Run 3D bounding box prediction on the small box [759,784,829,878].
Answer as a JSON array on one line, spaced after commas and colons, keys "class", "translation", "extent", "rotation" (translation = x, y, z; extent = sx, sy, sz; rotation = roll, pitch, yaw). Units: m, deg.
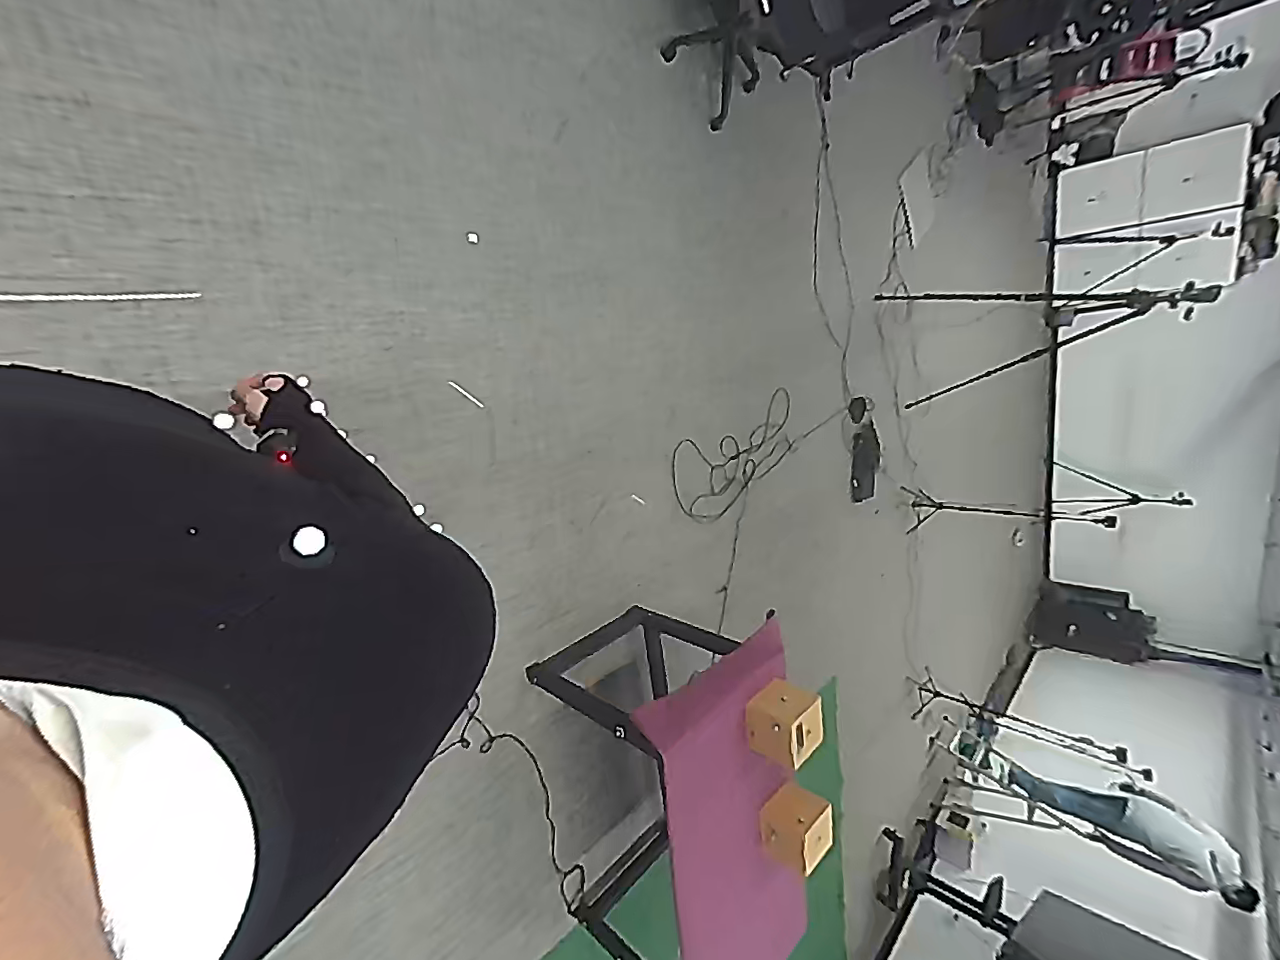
[{"class": "small box", "translation": [0.520, 1.174, 1.827], "extent": [0.179, 0.176, 0.168], "rotation": [-15, 105, -39]}]
